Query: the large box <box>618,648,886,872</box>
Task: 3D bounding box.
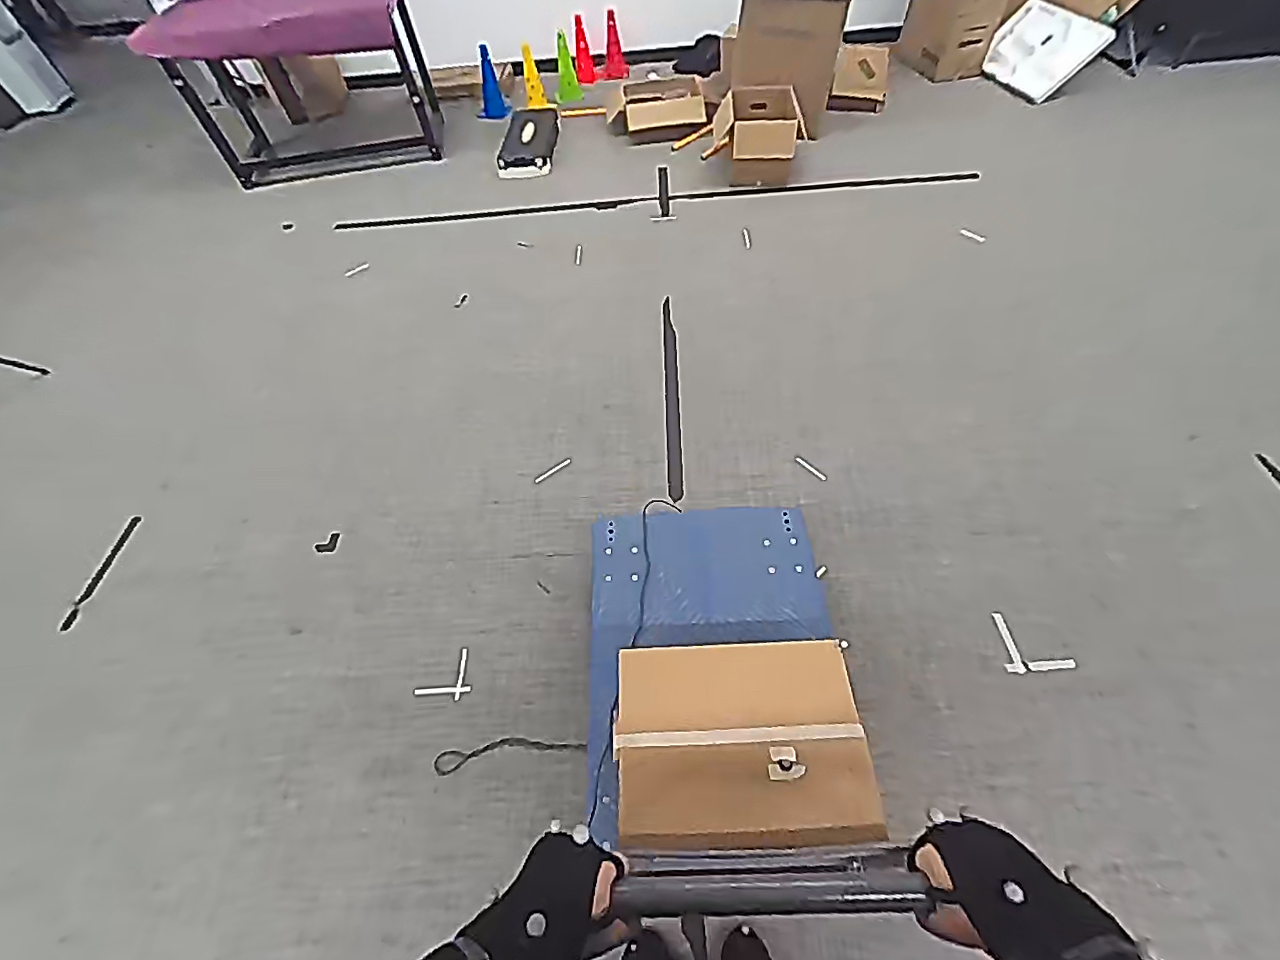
[{"bbox_3d":[0.169,0.527,1.007,0.408,0.320,0.320,-3,53,2],"label":"large box"}]
